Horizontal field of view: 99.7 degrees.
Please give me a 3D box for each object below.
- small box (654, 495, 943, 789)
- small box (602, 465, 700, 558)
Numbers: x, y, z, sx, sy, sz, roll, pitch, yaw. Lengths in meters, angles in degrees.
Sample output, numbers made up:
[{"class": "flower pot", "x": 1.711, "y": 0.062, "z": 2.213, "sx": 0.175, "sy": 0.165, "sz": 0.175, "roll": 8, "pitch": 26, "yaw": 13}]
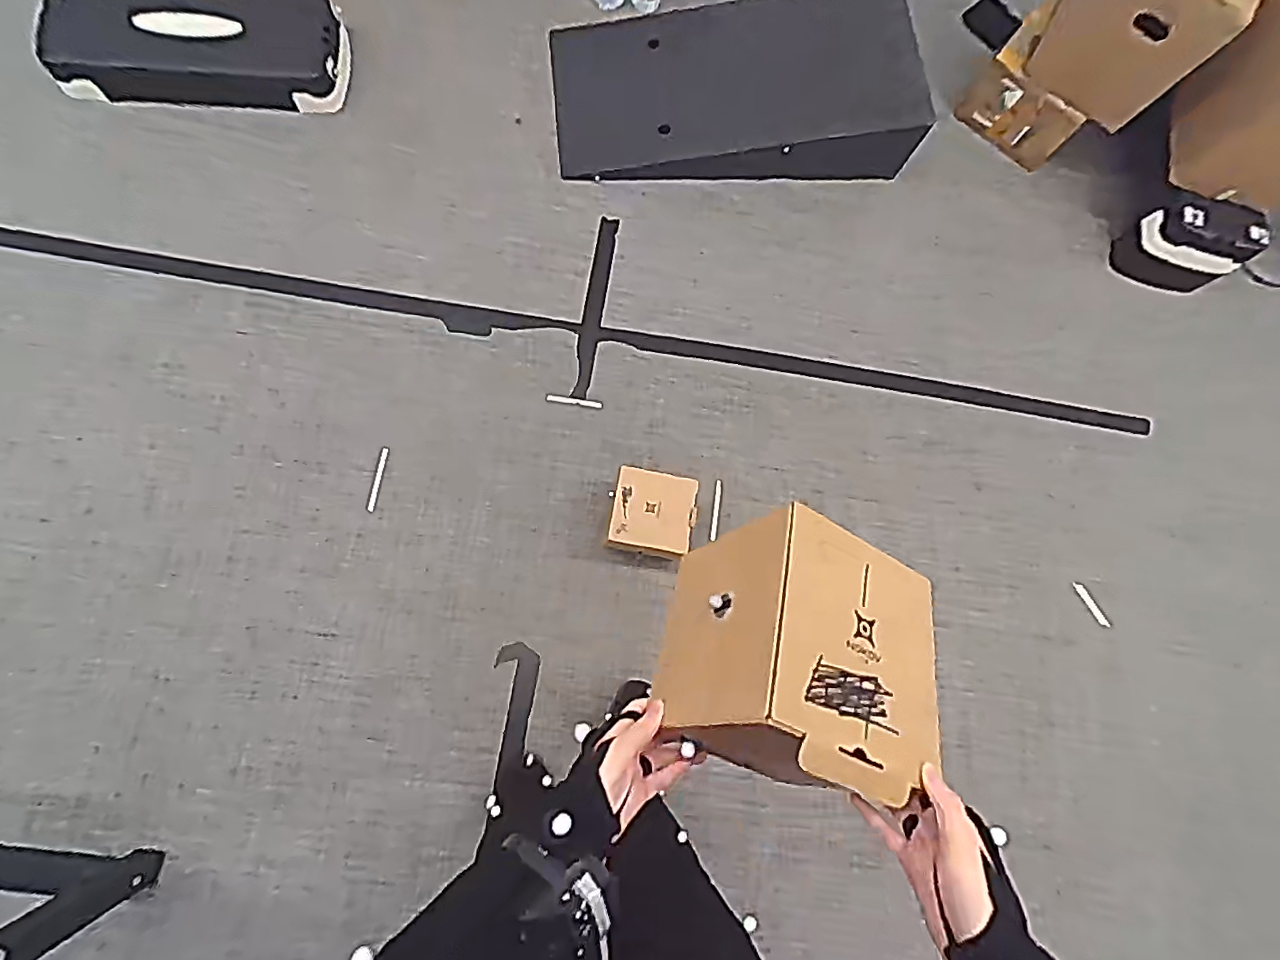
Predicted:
[{"class": "small box", "x": 0.132, "y": 0.149, "z": 0.476, "sx": 0.168, "sy": 0.176, "sz": 0.179, "roll": 31, "pitch": 53, "yaw": -17}, {"class": "small box", "x": 0.019, "y": 0.078, "z": 1.218, "sx": 0.179, "sy": 0.176, "sz": 0.168, "roll": 12, "pitch": 77, "yaw": -6}]
